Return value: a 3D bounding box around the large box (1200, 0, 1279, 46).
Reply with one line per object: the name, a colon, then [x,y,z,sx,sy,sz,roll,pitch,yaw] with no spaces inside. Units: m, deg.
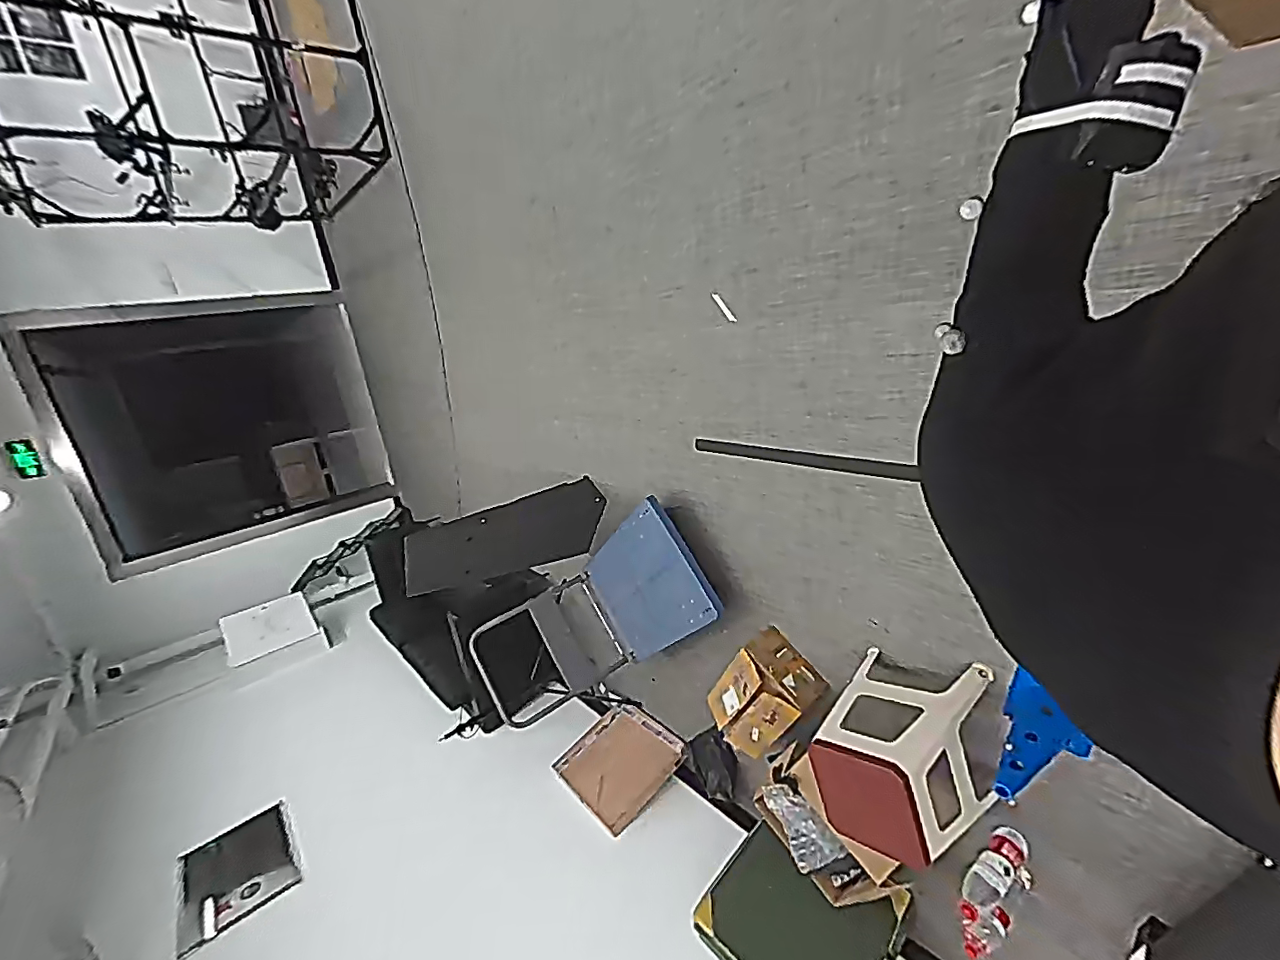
large box: [0.537,-0.461,0.218,0.408,0.320,0.320,14,121,48]
